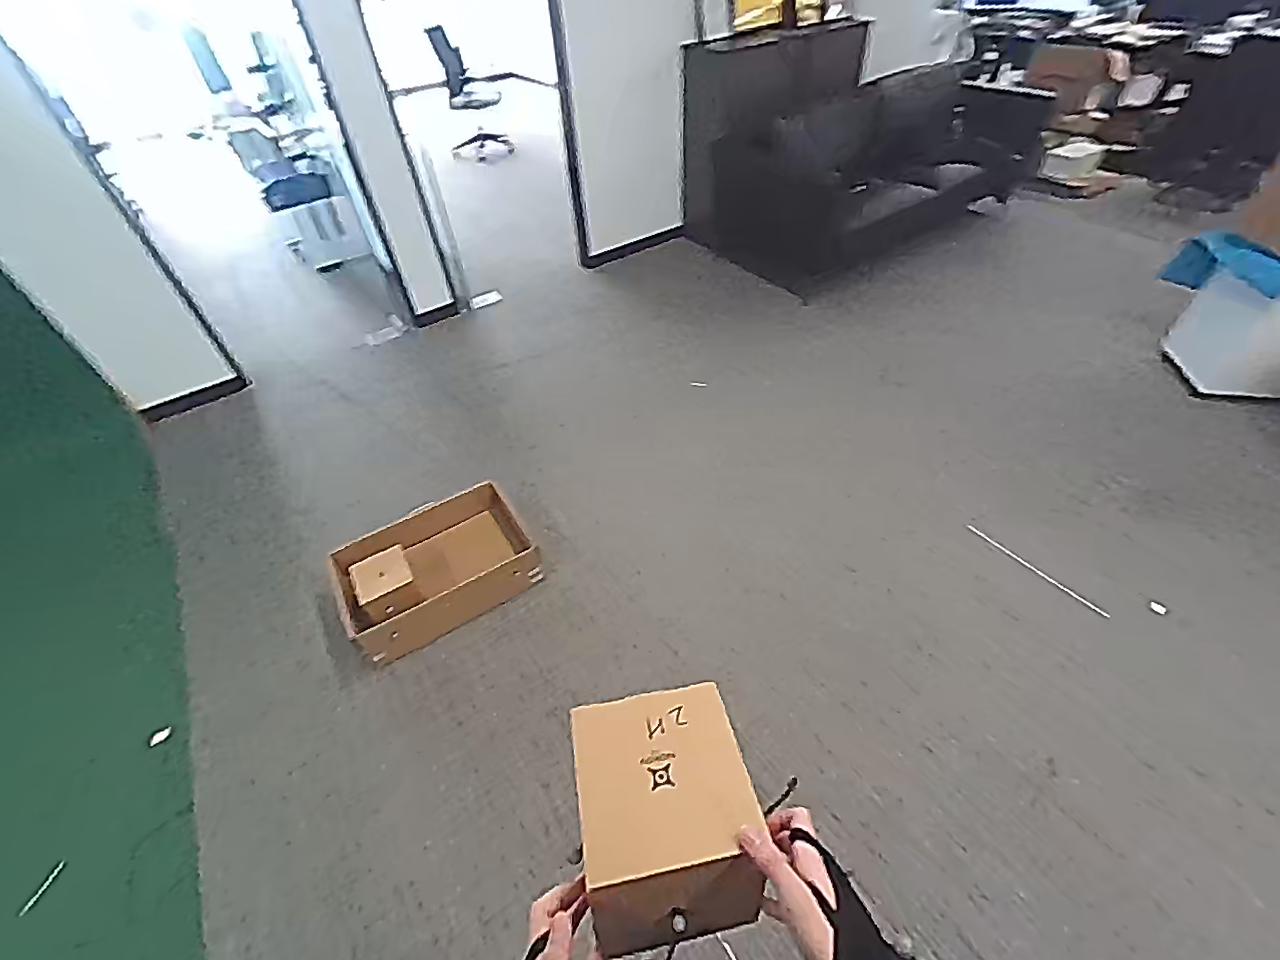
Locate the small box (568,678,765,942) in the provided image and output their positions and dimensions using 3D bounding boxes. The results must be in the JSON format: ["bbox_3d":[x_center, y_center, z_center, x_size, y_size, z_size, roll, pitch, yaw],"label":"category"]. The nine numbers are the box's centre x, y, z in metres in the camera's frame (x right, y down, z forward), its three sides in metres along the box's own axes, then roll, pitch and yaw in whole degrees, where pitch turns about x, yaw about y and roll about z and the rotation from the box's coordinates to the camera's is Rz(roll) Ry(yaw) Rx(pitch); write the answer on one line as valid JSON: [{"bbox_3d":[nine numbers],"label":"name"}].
[{"bbox_3d":[0.019,0.344,0.567,0.168,0.176,0.179,-7,33,-8],"label":"small box"}]

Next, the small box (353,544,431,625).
[{"bbox_3d":[-0.816,0.354,1.790,0.168,0.176,0.179,-26,49,-20],"label":"small box"}]
